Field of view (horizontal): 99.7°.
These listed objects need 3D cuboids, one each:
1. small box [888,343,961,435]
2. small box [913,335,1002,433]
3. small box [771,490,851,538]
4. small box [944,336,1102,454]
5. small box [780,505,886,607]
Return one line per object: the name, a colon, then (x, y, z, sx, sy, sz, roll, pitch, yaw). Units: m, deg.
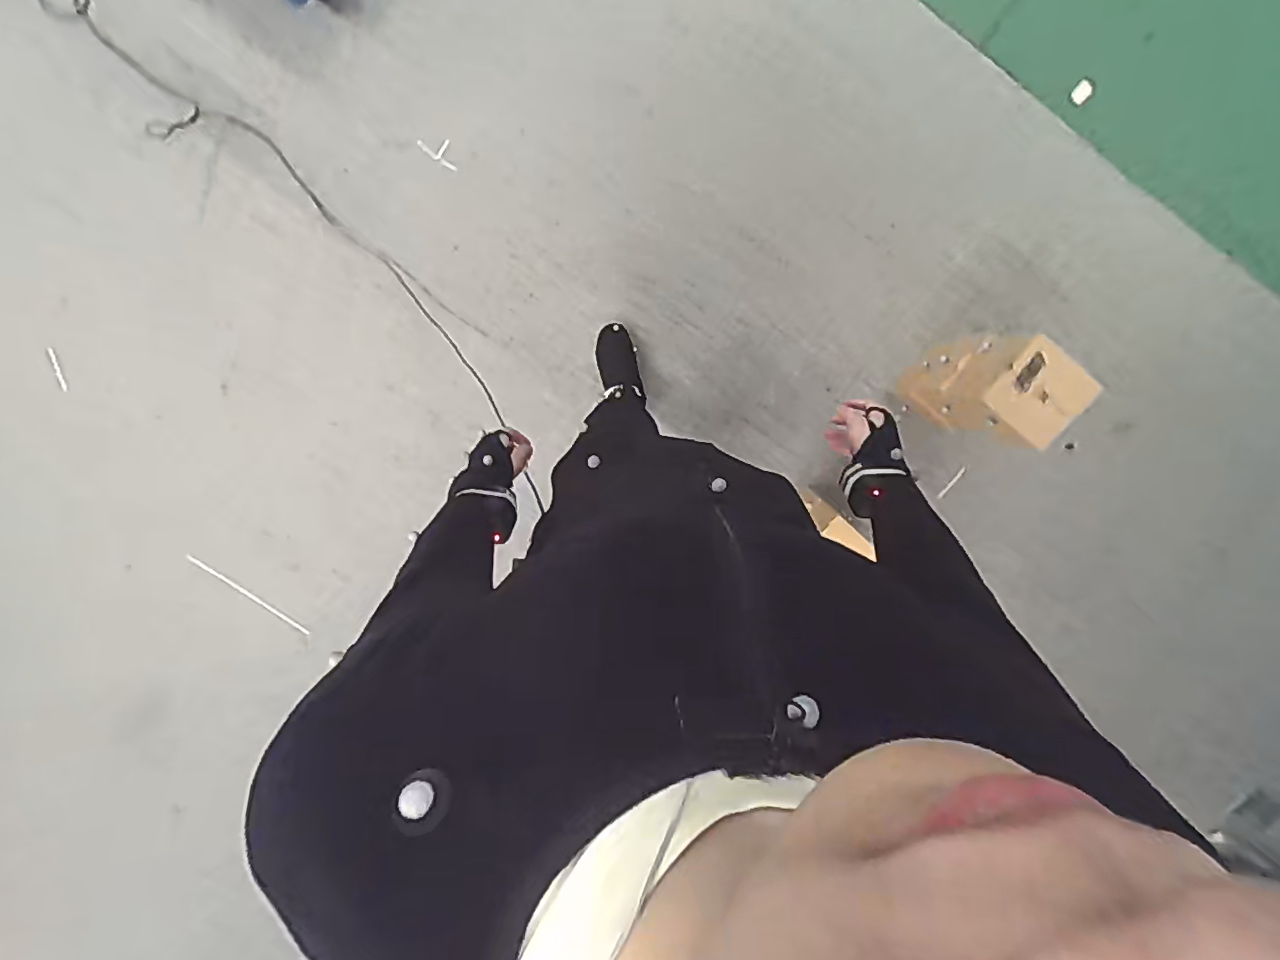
small box: (0.812, -0.246, 1.460, 0.168, 0.176, 0.179, 41, 101, -4)
small box: (0.801, -0.222, 1.299, 0.179, 0.176, 0.168, 41, 101, -3)
small box: (0.503, 0.149, 1.555, 0.168, 0.176, 0.179, -42, 95, 8)
small box: (0.791, -0.178, 1.140, 0.179, 0.176, 0.168, 39, 101, -4)
small box: (0.490, 0.187, 1.399, 0.179, 0.176, 0.168, 42, 101, -4)
